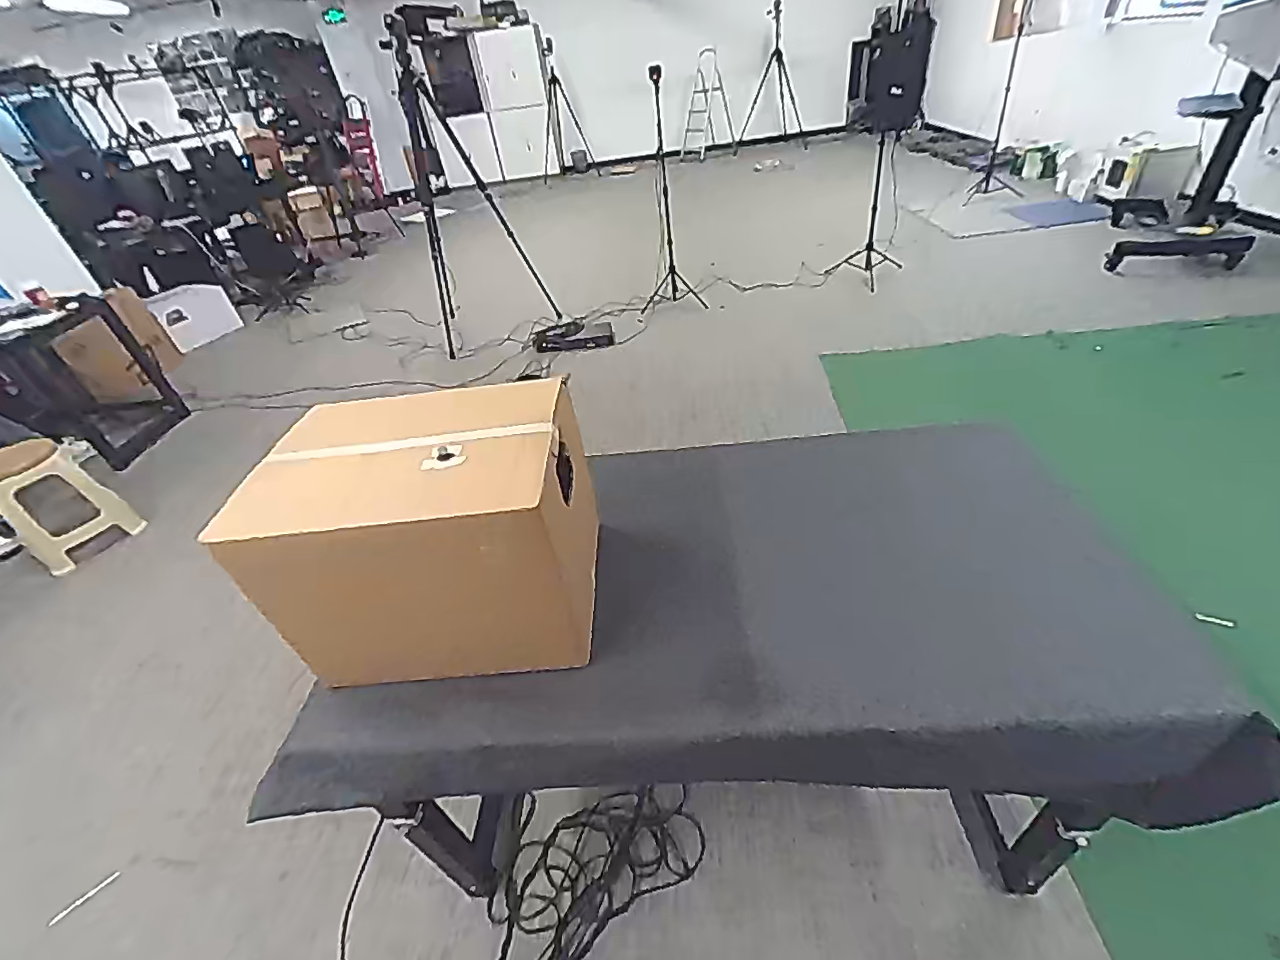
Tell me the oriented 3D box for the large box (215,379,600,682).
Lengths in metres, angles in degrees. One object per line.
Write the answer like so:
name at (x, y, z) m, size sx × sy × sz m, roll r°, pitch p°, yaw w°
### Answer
large box at (-0.284, 0.072, 0.820) m, size 0.408 × 0.320 × 0.320 m, roll -5°, pitch 38°, yaw 2°
